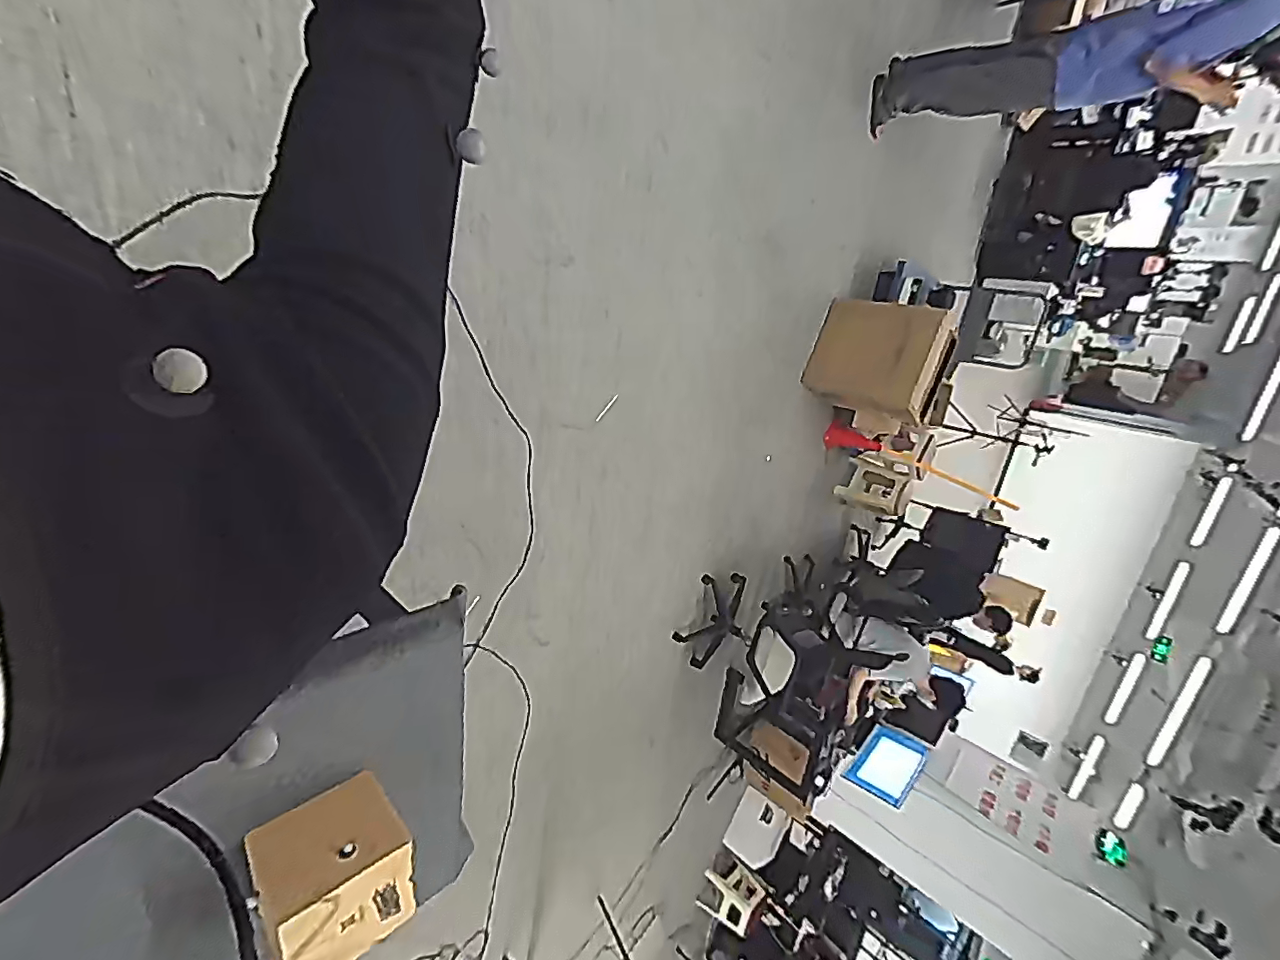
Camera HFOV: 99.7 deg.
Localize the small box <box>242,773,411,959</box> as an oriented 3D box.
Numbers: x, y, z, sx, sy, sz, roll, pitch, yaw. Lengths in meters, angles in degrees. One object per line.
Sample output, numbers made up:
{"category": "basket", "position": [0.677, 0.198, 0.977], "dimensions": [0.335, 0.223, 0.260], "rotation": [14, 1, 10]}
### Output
{"category": "small box", "position": [-0.474, 0.597, 0.826], "dimensions": [0.179, 0.176, 0.168], "rotation": [-14, 118, -45]}
